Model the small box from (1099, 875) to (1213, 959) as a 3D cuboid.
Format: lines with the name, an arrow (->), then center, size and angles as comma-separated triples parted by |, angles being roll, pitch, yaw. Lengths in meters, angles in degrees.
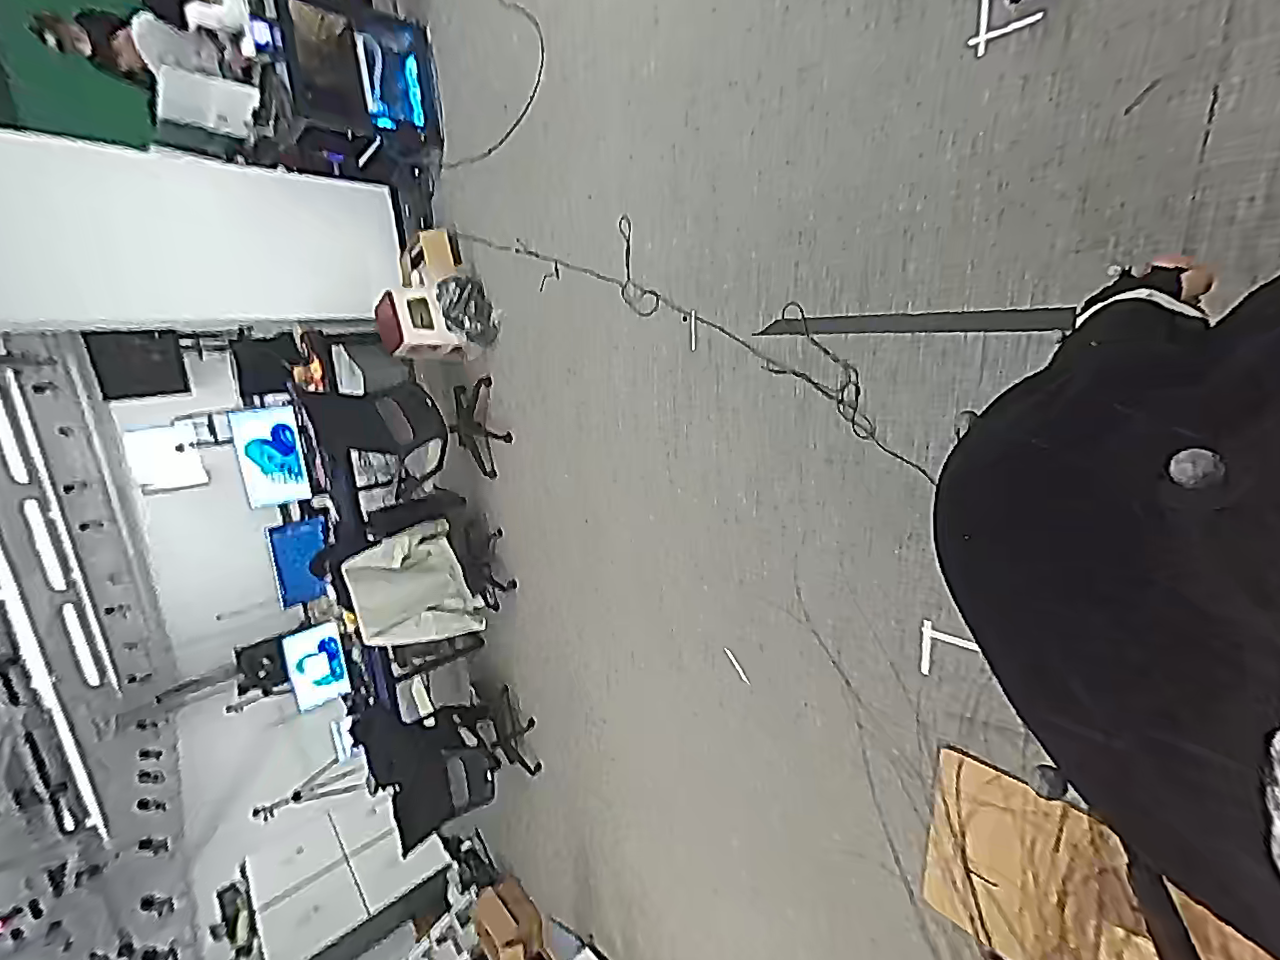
small box -> 1.166, 1.058, 1.223 | 0.168, 0.176, 0.179 | 11, 111, 48
